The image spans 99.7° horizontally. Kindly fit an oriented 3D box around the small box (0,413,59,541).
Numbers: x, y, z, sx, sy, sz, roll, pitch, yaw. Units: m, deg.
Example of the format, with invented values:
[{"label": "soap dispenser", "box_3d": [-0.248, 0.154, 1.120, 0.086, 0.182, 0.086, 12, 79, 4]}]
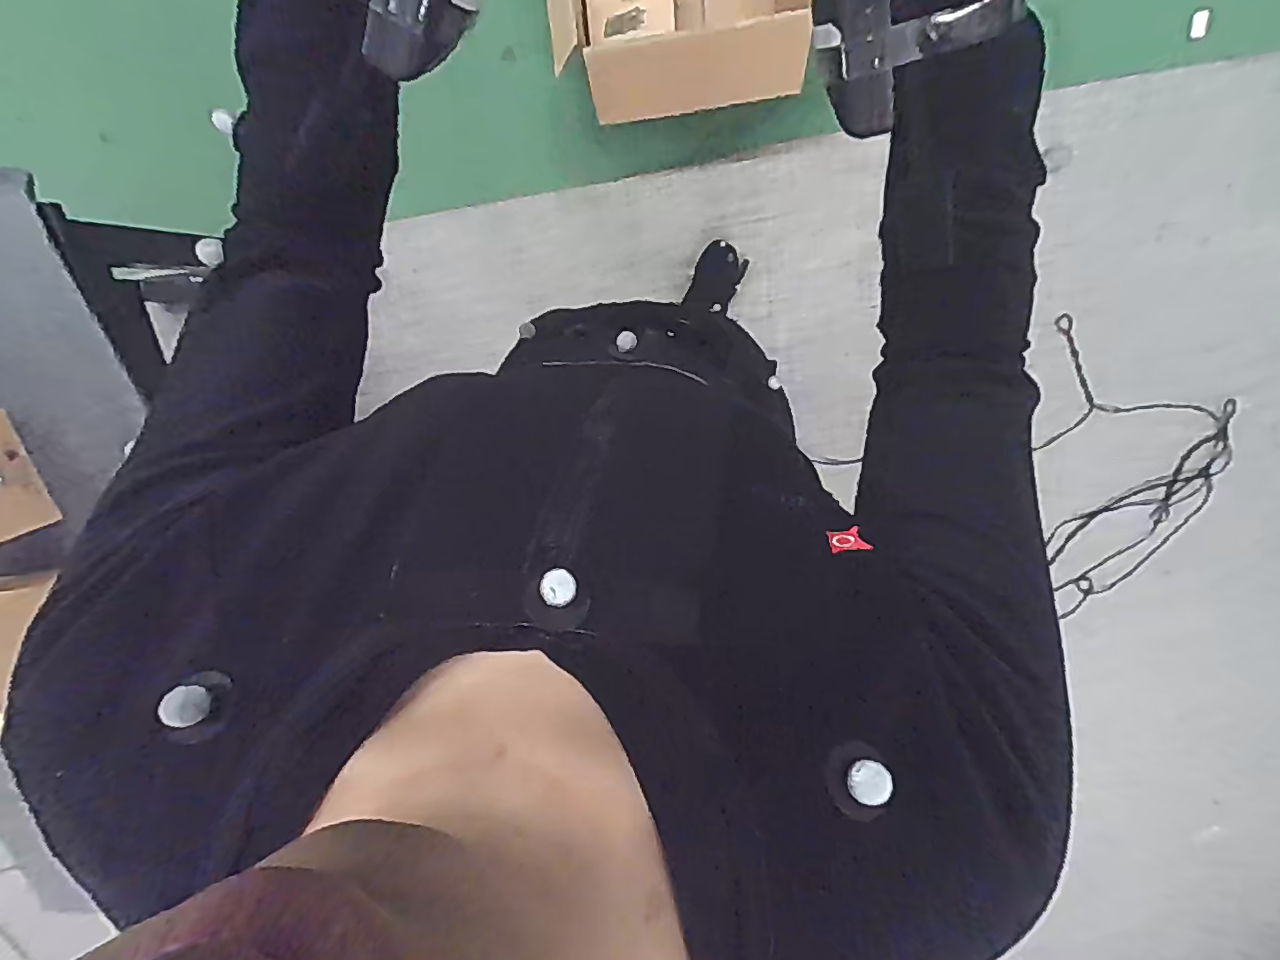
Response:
[{"label": "small box", "box_3d": [-0.933, 0.017, 0.689, 0.179, 0.176, 0.168, -7, 109, 5]}]
